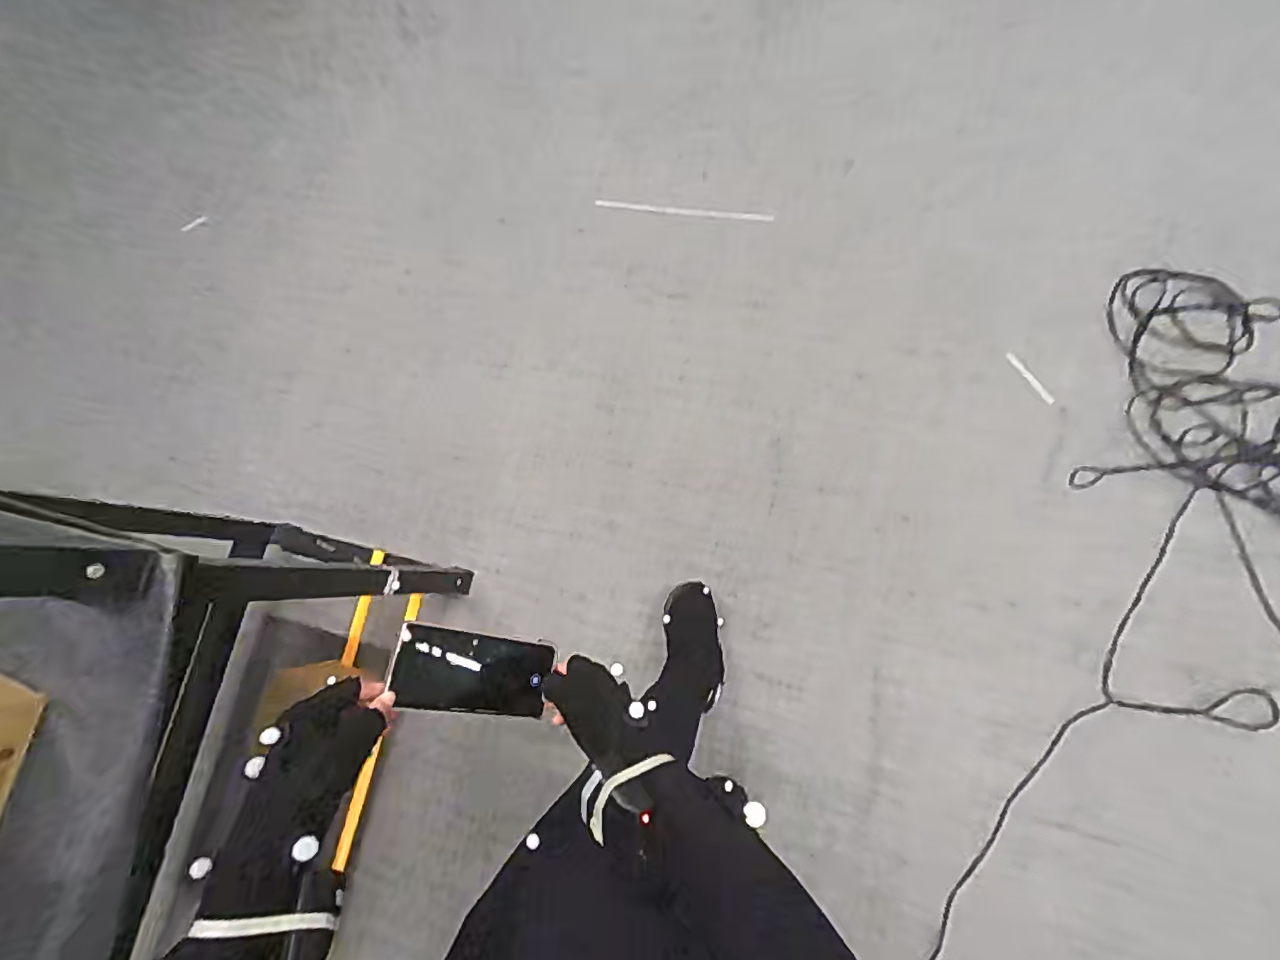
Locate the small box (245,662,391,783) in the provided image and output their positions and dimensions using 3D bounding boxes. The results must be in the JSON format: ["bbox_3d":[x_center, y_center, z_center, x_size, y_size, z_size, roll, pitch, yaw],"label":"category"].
[{"bbox_3d":[-0.665,0.496,1.137,0.179,0.176,0.168,15,82,12],"label":"small box"}]
